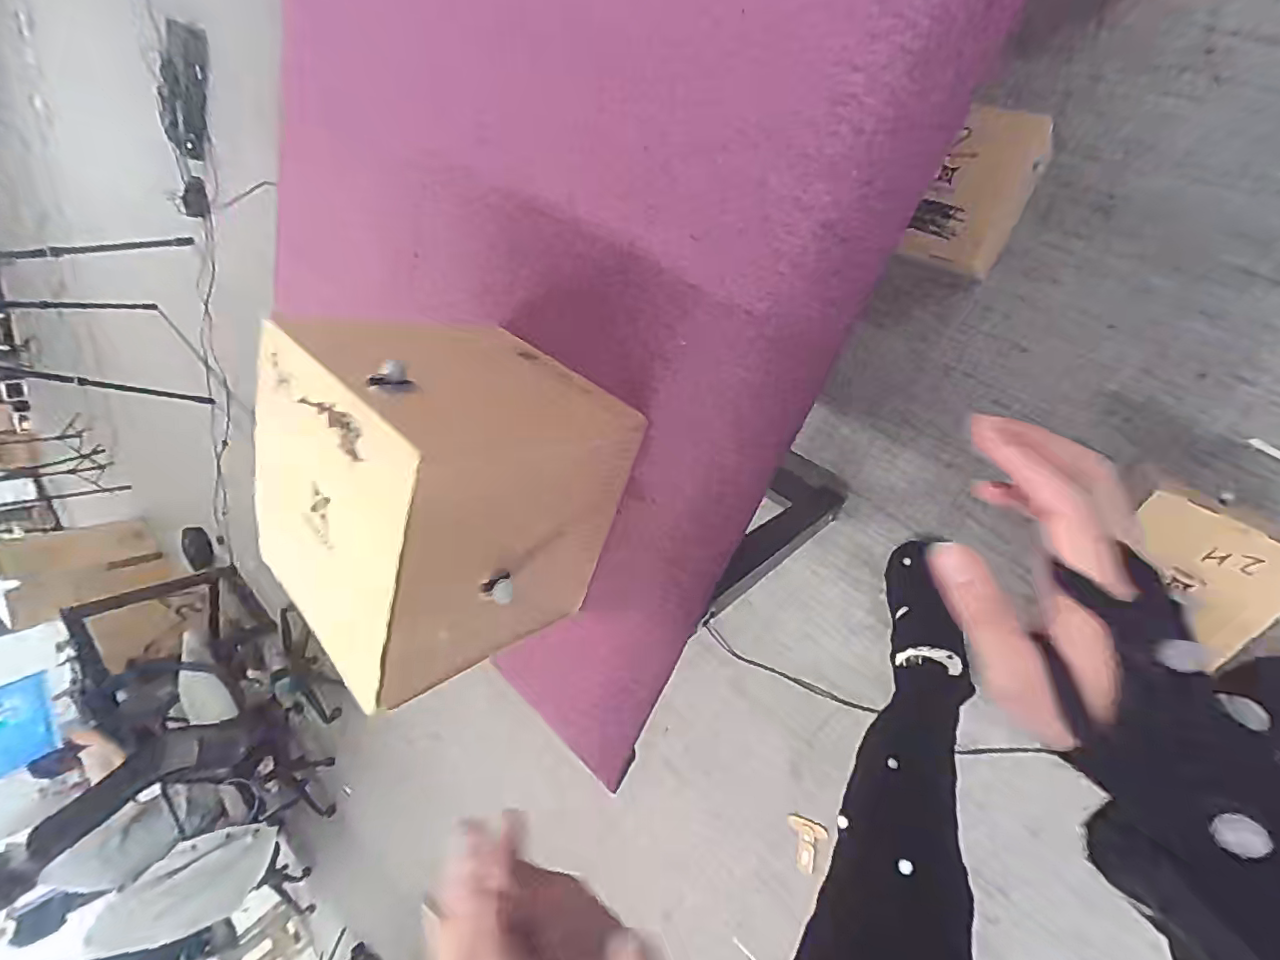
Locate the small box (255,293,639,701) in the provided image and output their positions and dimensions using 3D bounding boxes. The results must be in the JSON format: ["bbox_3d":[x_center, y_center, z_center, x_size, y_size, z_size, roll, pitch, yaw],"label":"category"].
[{"bbox_3d":[-0.126,-0.003,0.358,0.168,0.176,0.179,35,119,27],"label":"small box"}]
